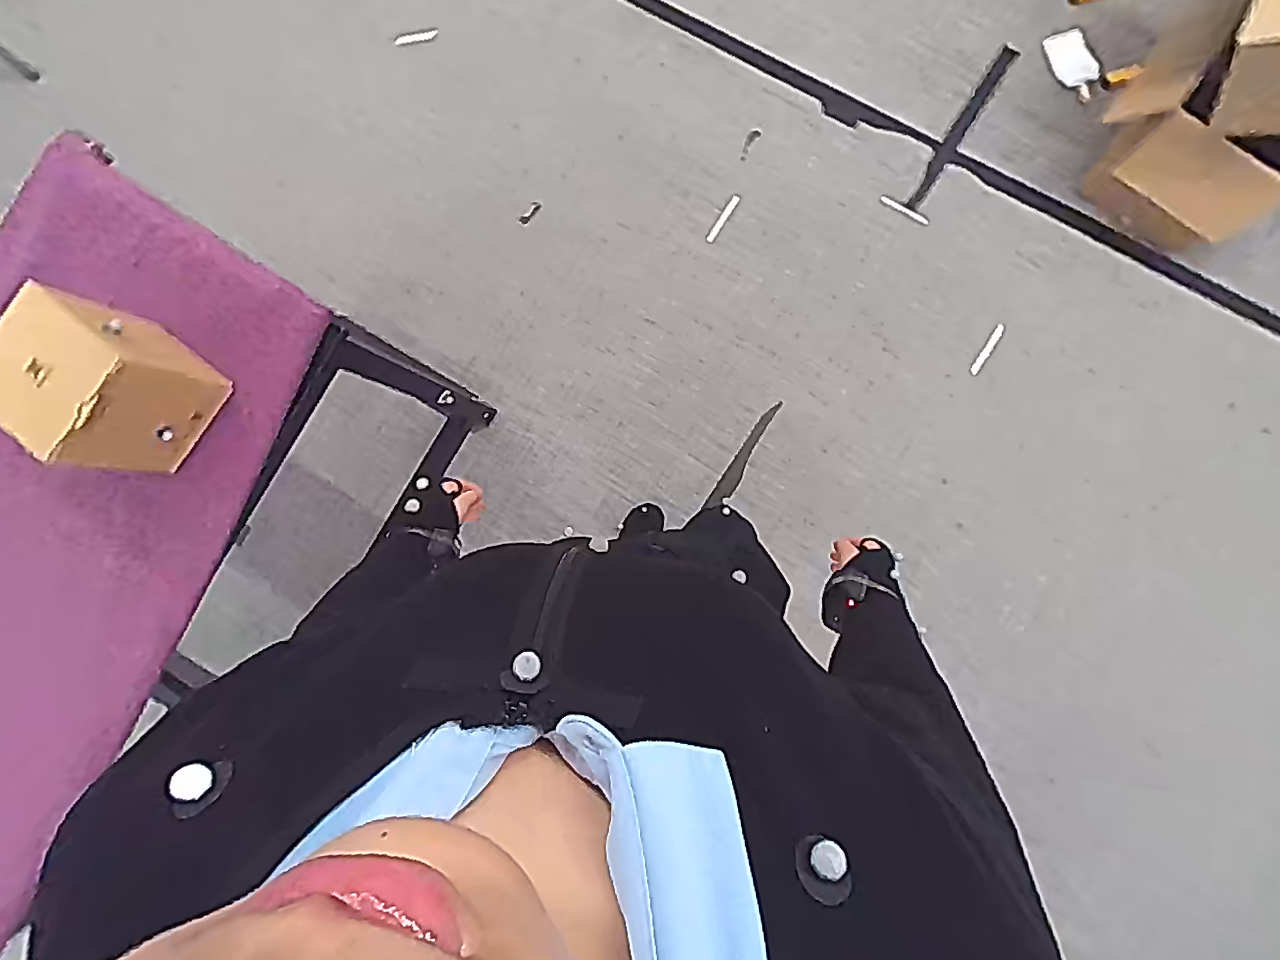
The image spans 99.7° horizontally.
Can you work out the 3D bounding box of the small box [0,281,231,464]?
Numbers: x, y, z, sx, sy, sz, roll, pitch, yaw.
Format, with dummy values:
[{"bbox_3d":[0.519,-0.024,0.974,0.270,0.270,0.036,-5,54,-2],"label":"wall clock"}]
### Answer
[{"bbox_3d":[-0.741,-0.134,0.755,0.179,0.176,0.168,36,91,6],"label":"small box"}]
